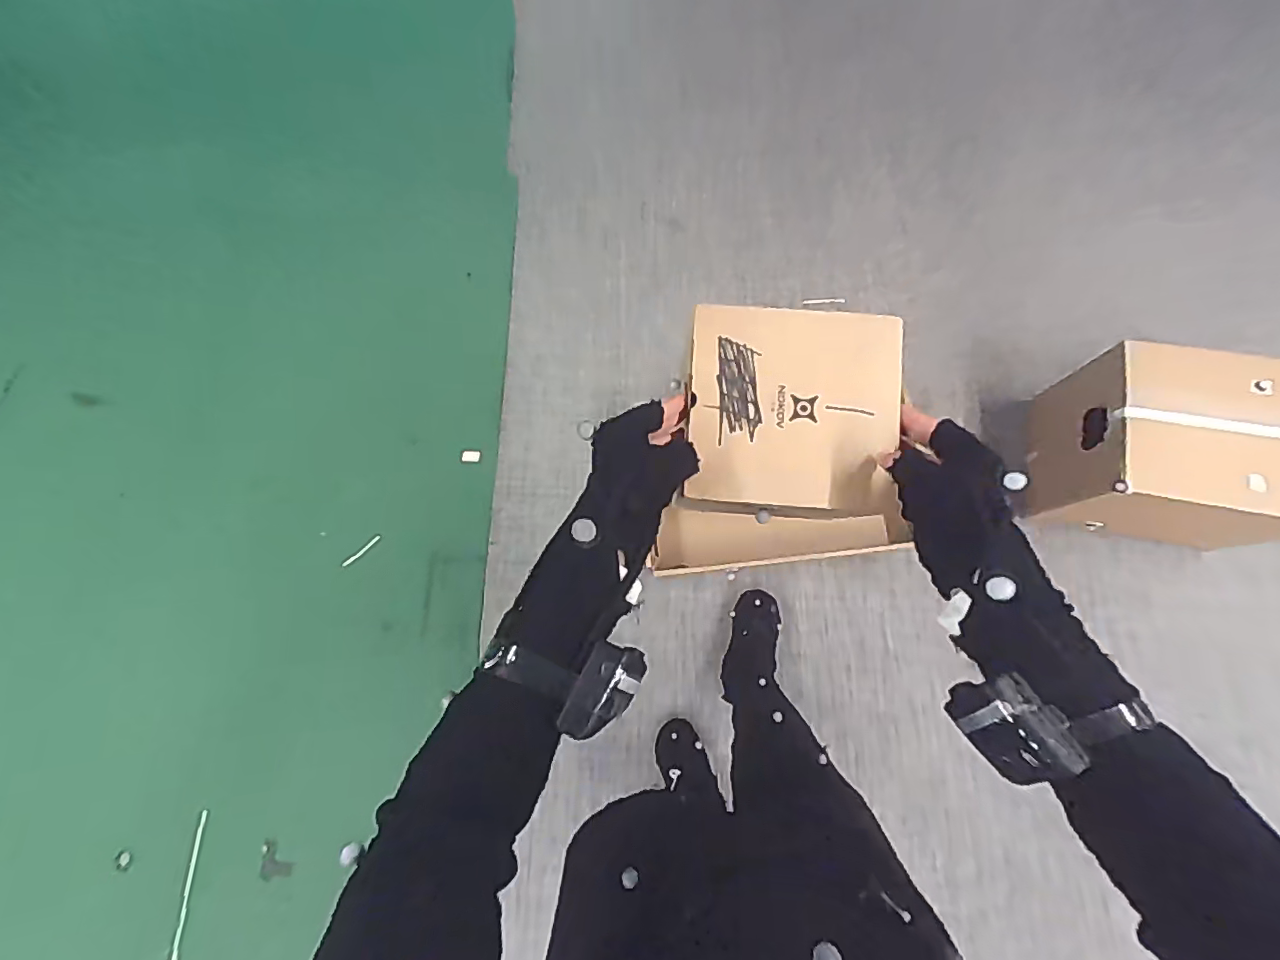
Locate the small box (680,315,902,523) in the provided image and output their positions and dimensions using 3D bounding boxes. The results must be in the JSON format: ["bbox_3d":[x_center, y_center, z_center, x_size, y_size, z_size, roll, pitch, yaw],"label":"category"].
[{"bbox_3d":[0.132,-0.047,0.531,0.179,0.176,0.168,4,84,1],"label":"small box"}]
